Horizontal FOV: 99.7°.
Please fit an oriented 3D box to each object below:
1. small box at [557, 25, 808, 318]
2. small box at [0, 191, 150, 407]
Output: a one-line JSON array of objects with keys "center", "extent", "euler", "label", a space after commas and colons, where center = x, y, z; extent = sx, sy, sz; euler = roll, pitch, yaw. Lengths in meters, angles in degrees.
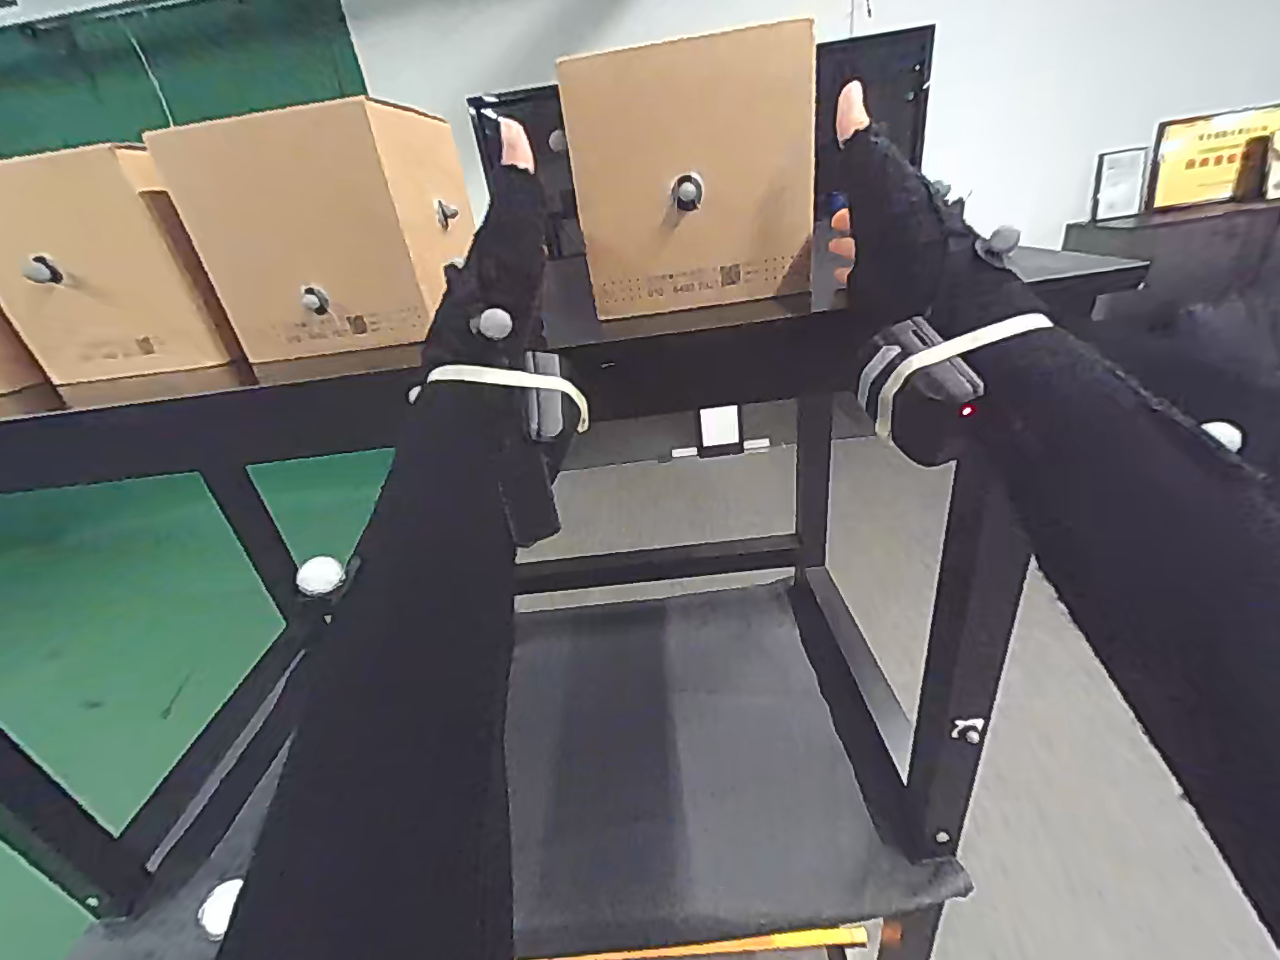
[{"center": [0.039, -0.239, 0.451], "extent": [0.168, 0.176, 0.179], "euler": [-6, 28, 4], "label": "small box"}, {"center": [-0.637, -0.173, 0.521], "extent": [0.168, 0.176, 0.179], "euler": [-6, 29, 5], "label": "small box"}]
